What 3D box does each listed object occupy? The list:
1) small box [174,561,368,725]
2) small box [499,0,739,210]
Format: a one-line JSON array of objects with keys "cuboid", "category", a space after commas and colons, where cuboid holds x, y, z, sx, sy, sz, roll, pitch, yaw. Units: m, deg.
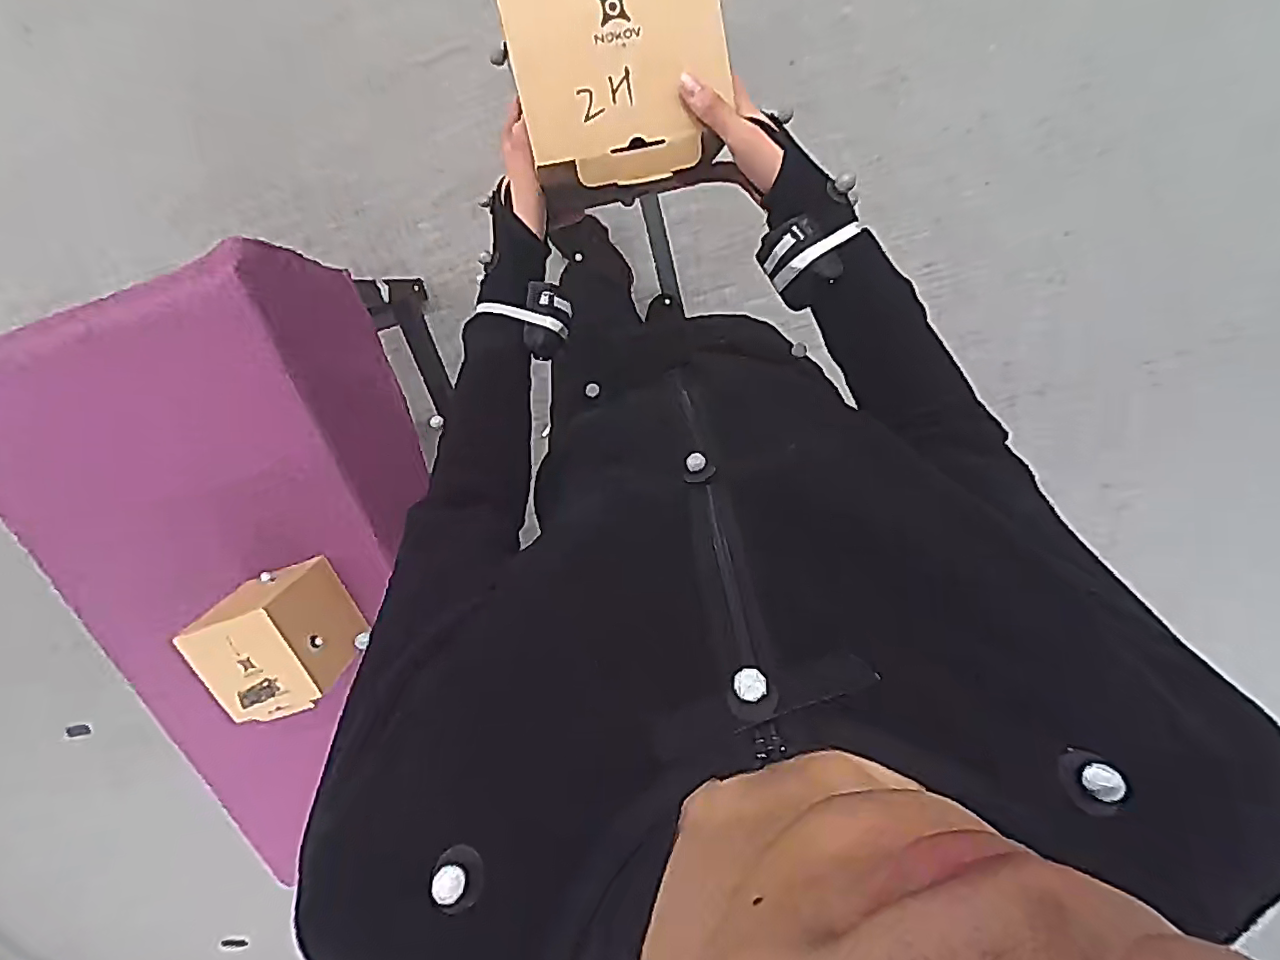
[{"cuboid": [-0.598, 0.266, 0.906, 0.168, 0.176, 0.179, -19, 109, 7], "category": "small box"}, {"cuboid": [-0.027, -0.362, 0.473, 0.168, 0.176, 0.179, -13, 105, -3], "category": "small box"}]
